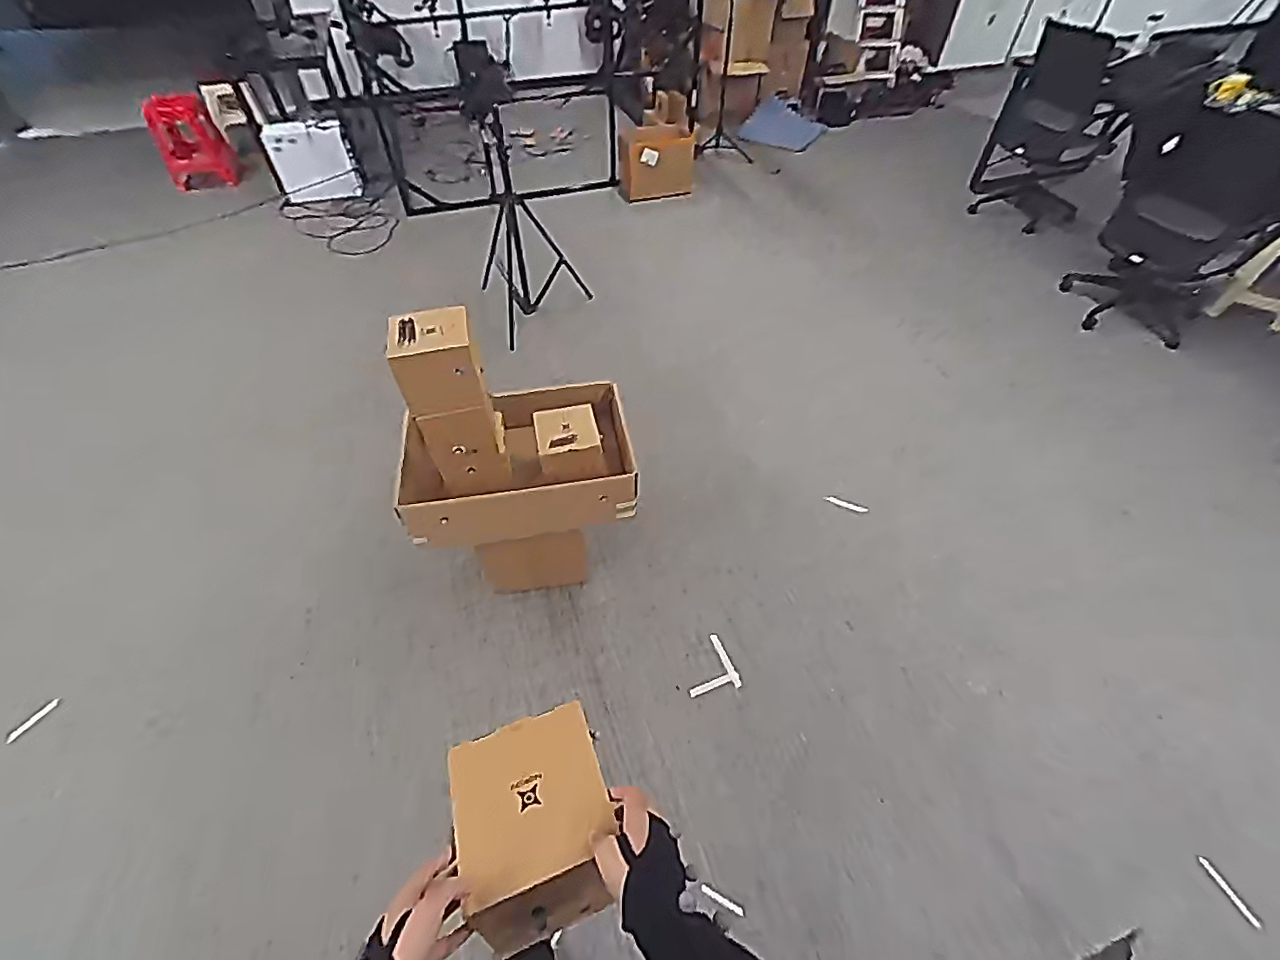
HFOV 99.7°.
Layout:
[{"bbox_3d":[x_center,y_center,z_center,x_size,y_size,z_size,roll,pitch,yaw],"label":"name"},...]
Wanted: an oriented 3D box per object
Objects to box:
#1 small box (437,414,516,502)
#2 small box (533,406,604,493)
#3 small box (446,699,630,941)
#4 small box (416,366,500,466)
[{"bbox_3d":[-0.454,-0.057,1.503,0.179,0.176,0.168,-10,51,-10],"label":"small box"},{"bbox_3d":[-0.200,-0.079,1.523,0.168,0.176,0.179,-10,50,-9],"label":"small box"},{"bbox_3d":[-0.118,0.405,0.643,0.168,0.176,0.179,-16,39,-14],"label":"small box"},{"bbox_3d":[-0.463,-0.163,1.378,0.168,0.176,0.179,-13,50,-10],"label":"small box"}]
